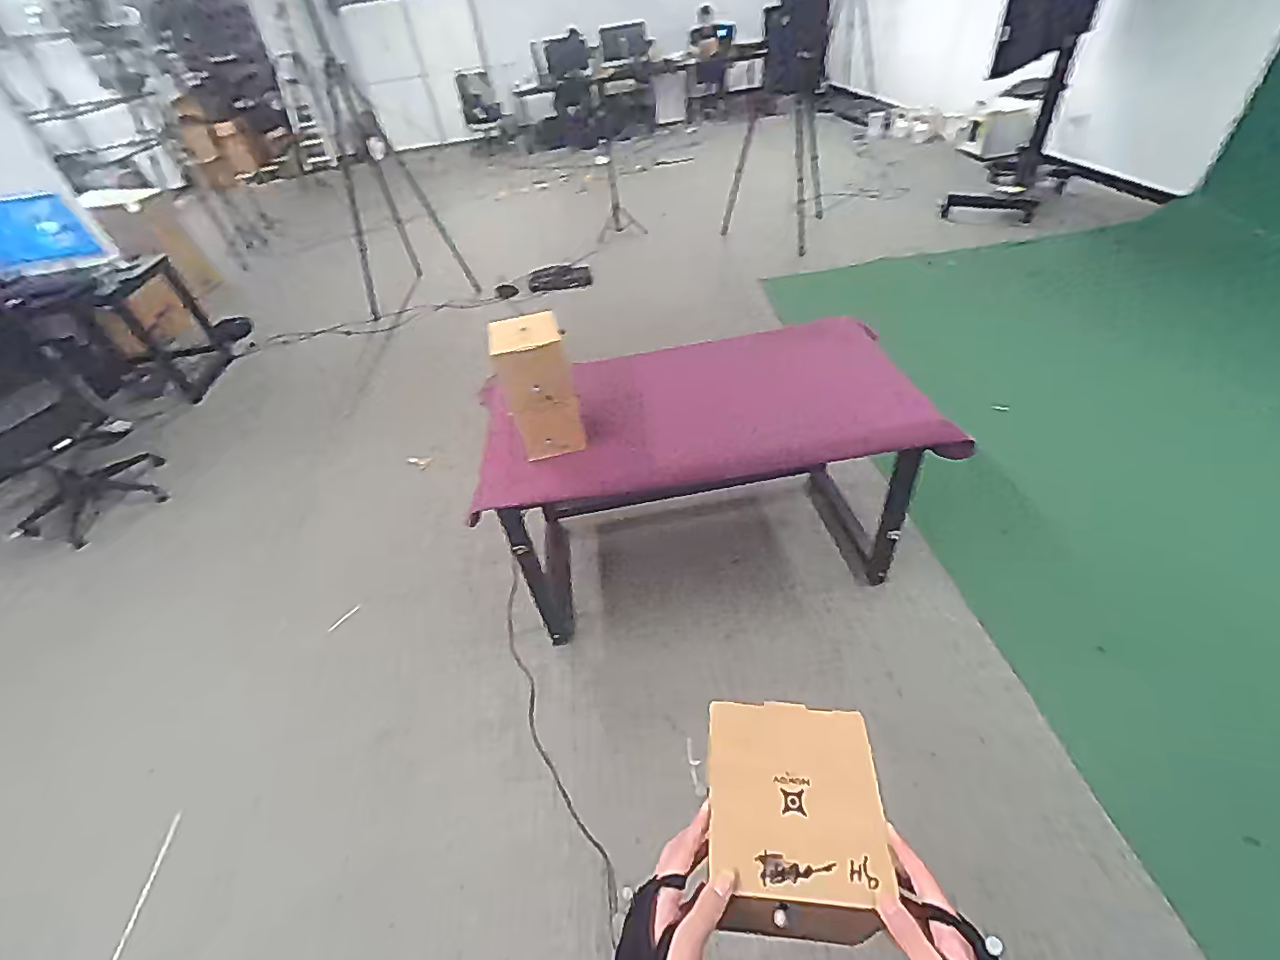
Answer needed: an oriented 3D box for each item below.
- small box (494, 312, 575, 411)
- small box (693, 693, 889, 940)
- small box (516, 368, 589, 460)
[{"bbox_3d":[-0.268,-0.300,1.372,0.168,0.176,0.179,-14,43,-5],"label":"small box"},{"bbox_3d":[0.143,0.355,0.578,0.168,0.176,0.179,1,41,7],"label":"small box"},{"bbox_3d":[-0.243,-0.181,1.484,0.168,0.176,0.179,-13,43,-5],"label":"small box"}]
